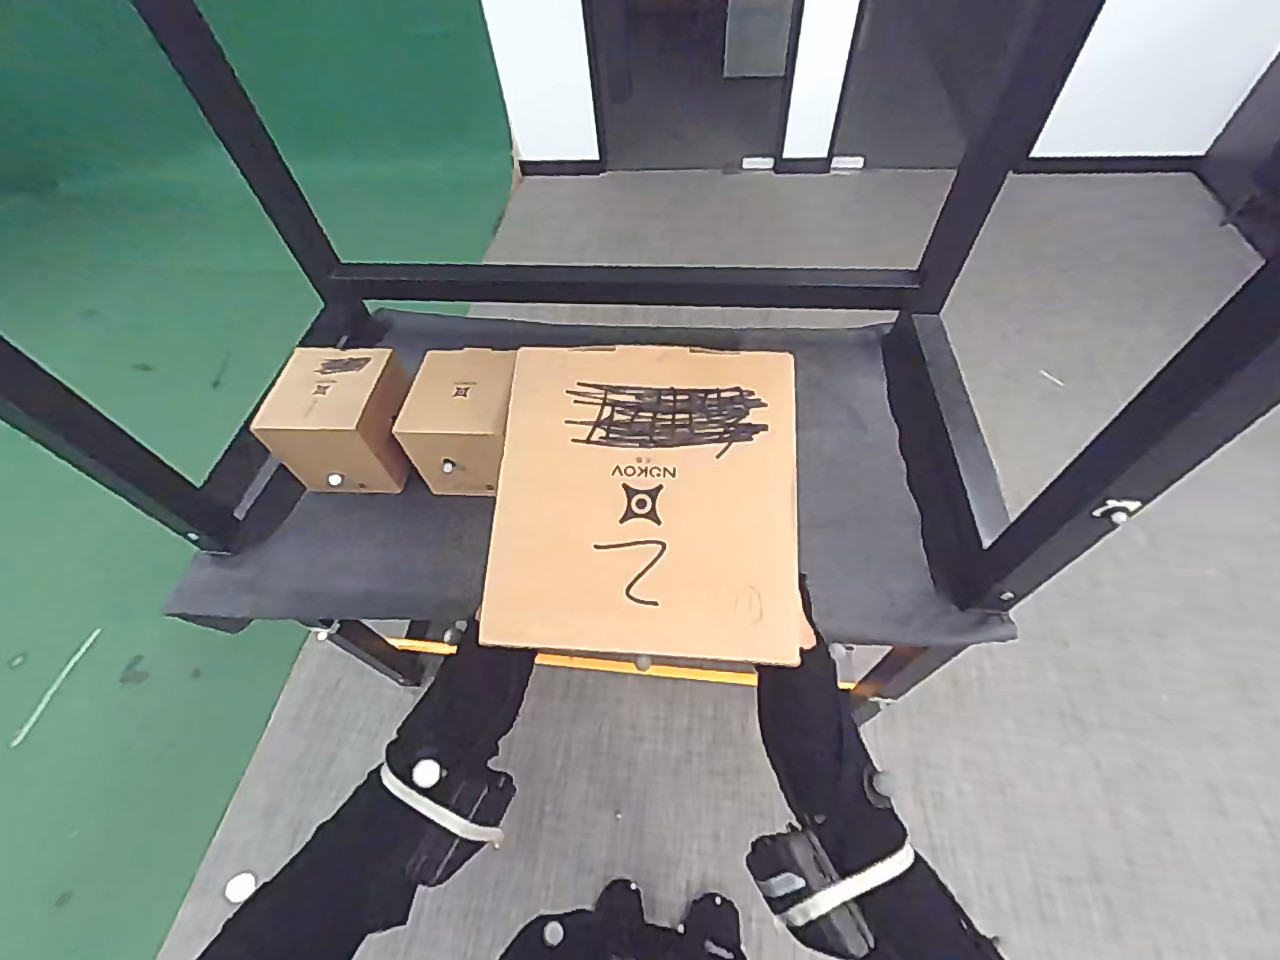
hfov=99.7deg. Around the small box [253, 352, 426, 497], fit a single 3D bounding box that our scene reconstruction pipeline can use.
[{"bbox_3d":[-0.480,-0.091,0.900,0.168,0.176,0.179,1,55,5],"label":"small box"}]
